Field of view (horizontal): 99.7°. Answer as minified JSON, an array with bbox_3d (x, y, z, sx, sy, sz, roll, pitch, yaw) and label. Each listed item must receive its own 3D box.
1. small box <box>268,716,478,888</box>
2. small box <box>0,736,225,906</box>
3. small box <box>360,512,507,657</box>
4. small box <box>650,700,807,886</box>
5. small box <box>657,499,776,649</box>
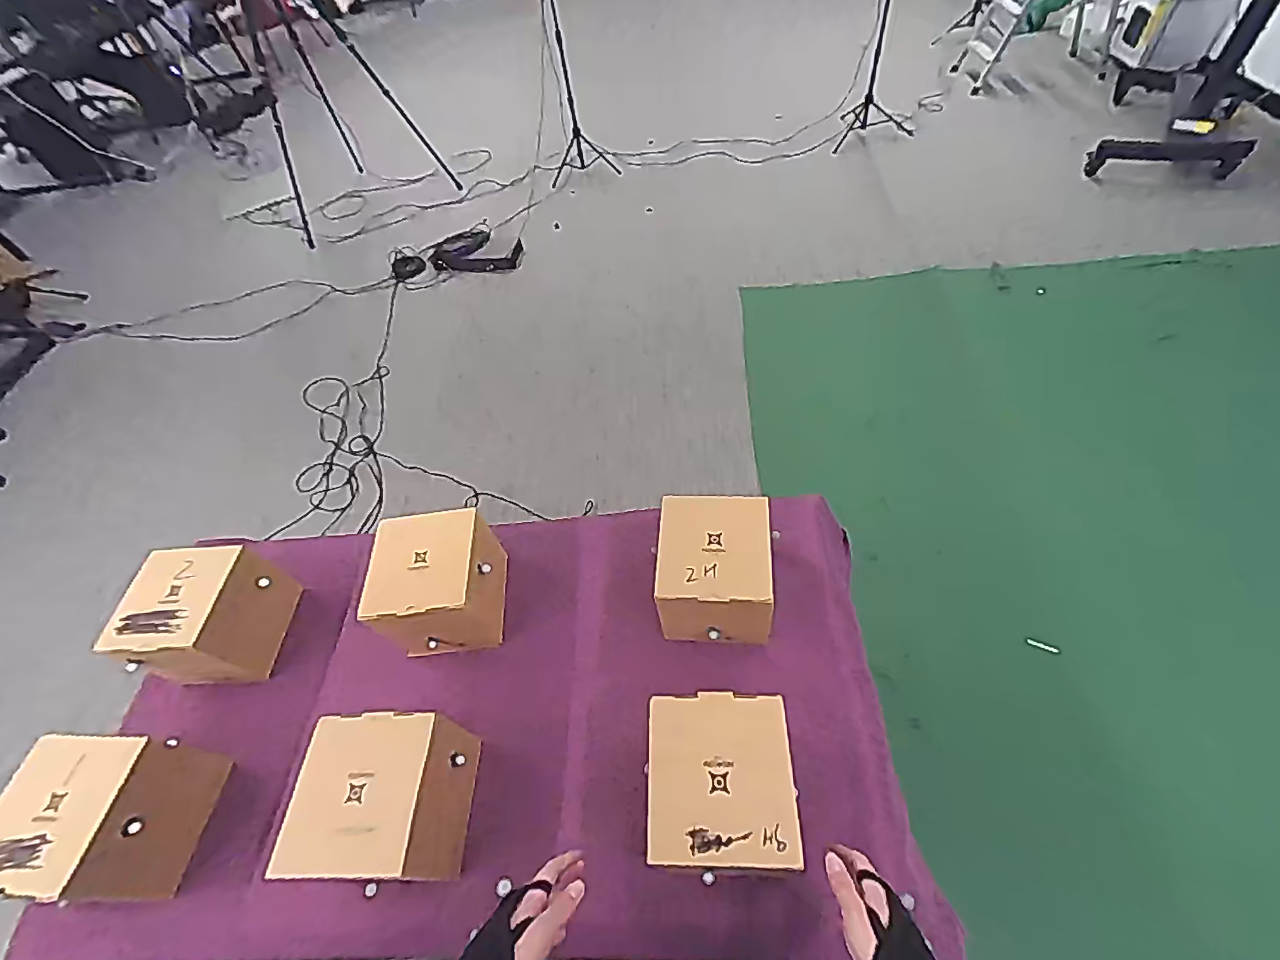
[{"bbox_3d":[-0.330,0.427,0.714,0.168,0.176,0.179,-4,52,6],"label":"small box"},{"bbox_3d":[-0.727,0.464,0.737,0.168,0.176,0.179,-1,52,6],"label":"small box"},{"bbox_3d":[-0.328,0.176,0.901,0.168,0.176,0.179,-7,54,2],"label":"small box"},{"bbox_3d":[0.105,0.391,0.677,0.168,0.176,0.179,-3,51,7],"label":"small box"},{"bbox_3d":[0.122,0.149,0.855,0.168,0.176,0.179,0,55,9],"label":"small box"}]
